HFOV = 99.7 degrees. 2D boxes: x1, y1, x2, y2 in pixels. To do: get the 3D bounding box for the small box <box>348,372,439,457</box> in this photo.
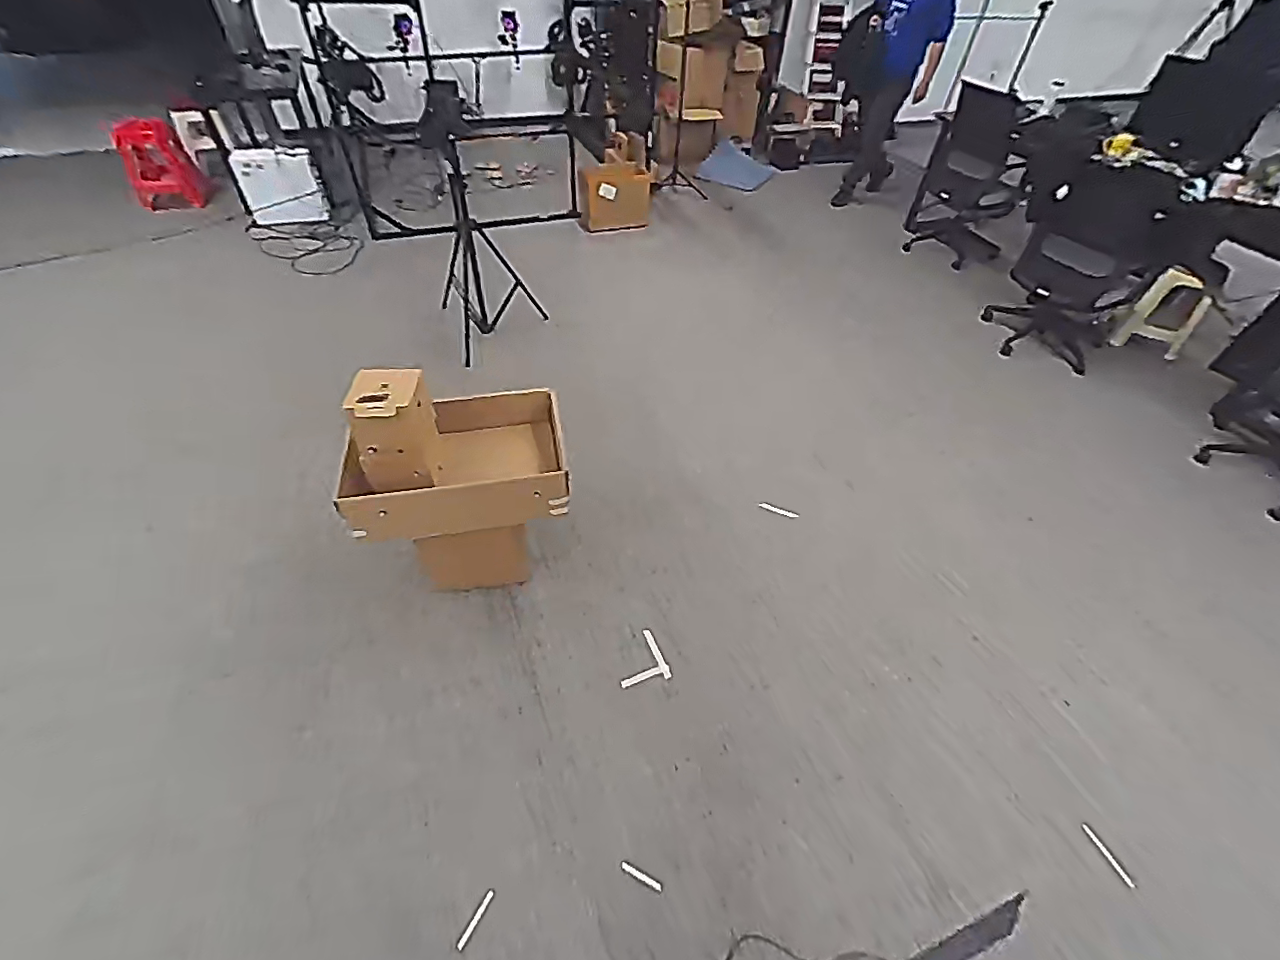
[{"bbox_3d":[-0.663,-0.175,1.477,0.168,0.176,0.179,-2,45,-5],"label":"small box"}]
